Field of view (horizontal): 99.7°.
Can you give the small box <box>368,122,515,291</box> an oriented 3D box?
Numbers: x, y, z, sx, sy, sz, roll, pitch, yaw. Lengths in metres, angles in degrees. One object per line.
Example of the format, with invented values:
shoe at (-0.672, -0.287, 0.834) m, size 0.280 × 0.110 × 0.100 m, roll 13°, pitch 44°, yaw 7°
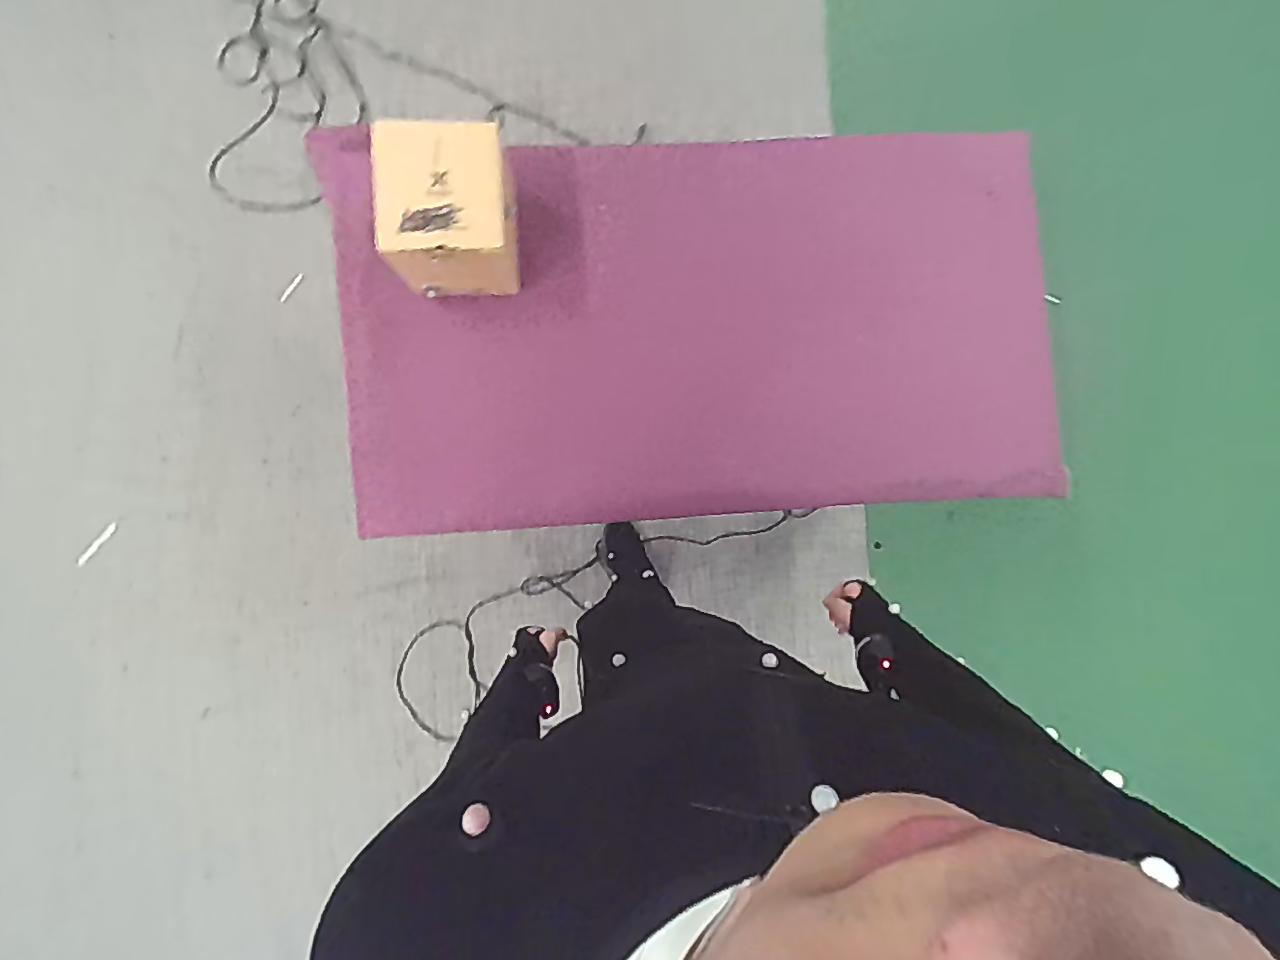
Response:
small box at (-0.279, -0.387, 0.795) m, size 0.168 × 0.176 × 0.179 m, roll -3°, pitch 90°, yaw -7°
